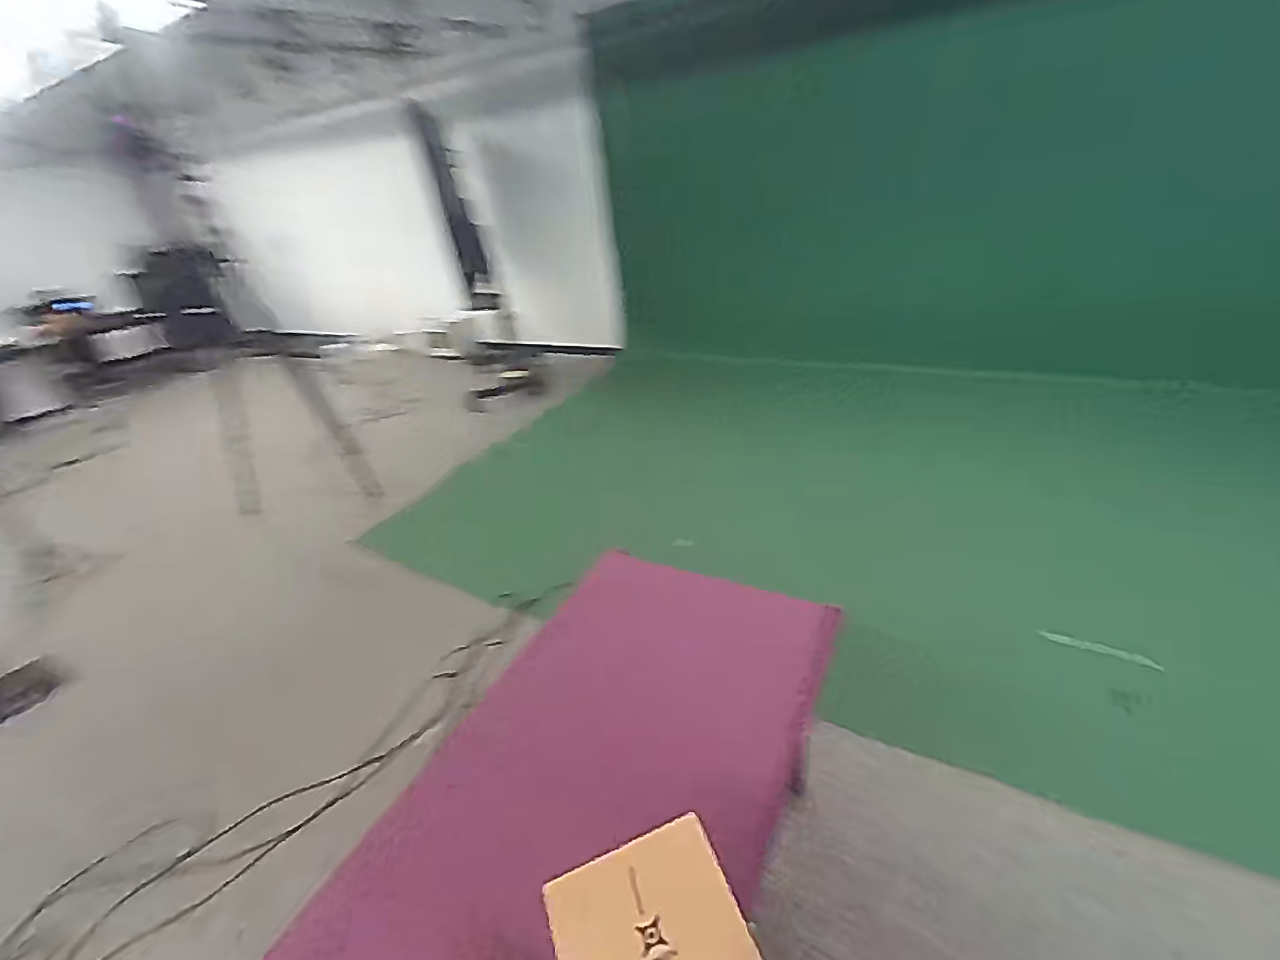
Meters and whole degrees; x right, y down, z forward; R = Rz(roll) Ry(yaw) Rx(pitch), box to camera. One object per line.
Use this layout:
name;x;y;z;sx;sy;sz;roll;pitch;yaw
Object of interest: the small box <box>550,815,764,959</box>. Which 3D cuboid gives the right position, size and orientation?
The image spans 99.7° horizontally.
small box;0.028;0.476;0.517;0.168;0.176;0.179;-18;35;-13
